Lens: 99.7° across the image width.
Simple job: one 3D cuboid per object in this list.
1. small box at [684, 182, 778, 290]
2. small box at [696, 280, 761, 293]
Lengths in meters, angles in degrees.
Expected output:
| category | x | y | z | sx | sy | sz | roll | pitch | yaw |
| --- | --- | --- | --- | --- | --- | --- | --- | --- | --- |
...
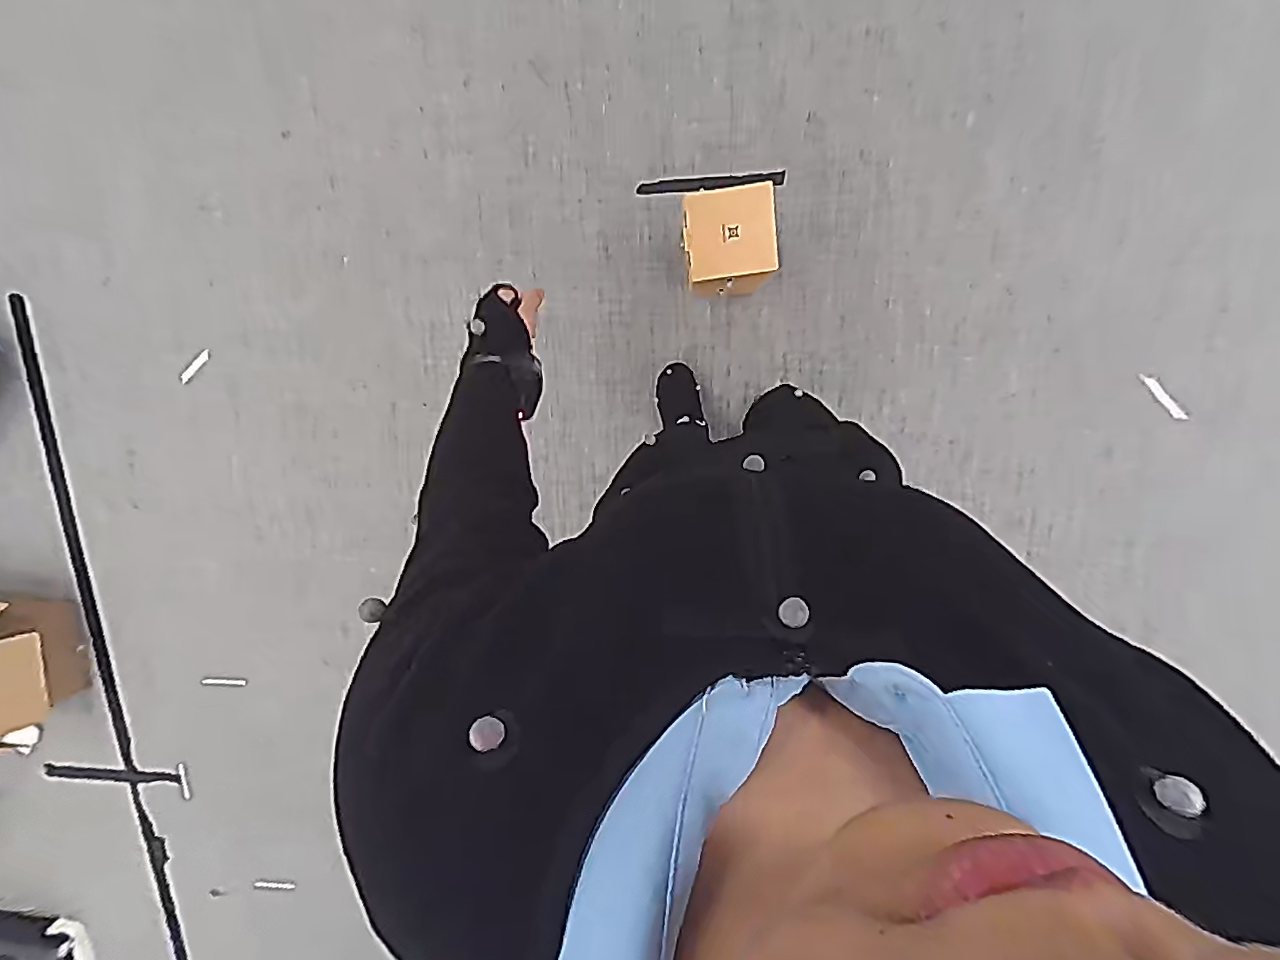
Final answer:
| category | x | y | z | sx | sy | sz | roll | pitch | yaw |
| --- | --- | --- | --- | --- | --- | --- | --- | --- | --- |
| small box | 0.186 | -0.504 | 1.138 | 0.179 | 0.176 | 0.168 | -6 | 102 | 7 |
| small box | 0.206 | -0.547 | 1.294 | 0.168 | 0.176 | 0.179 | 2 | 102 | 4 |
